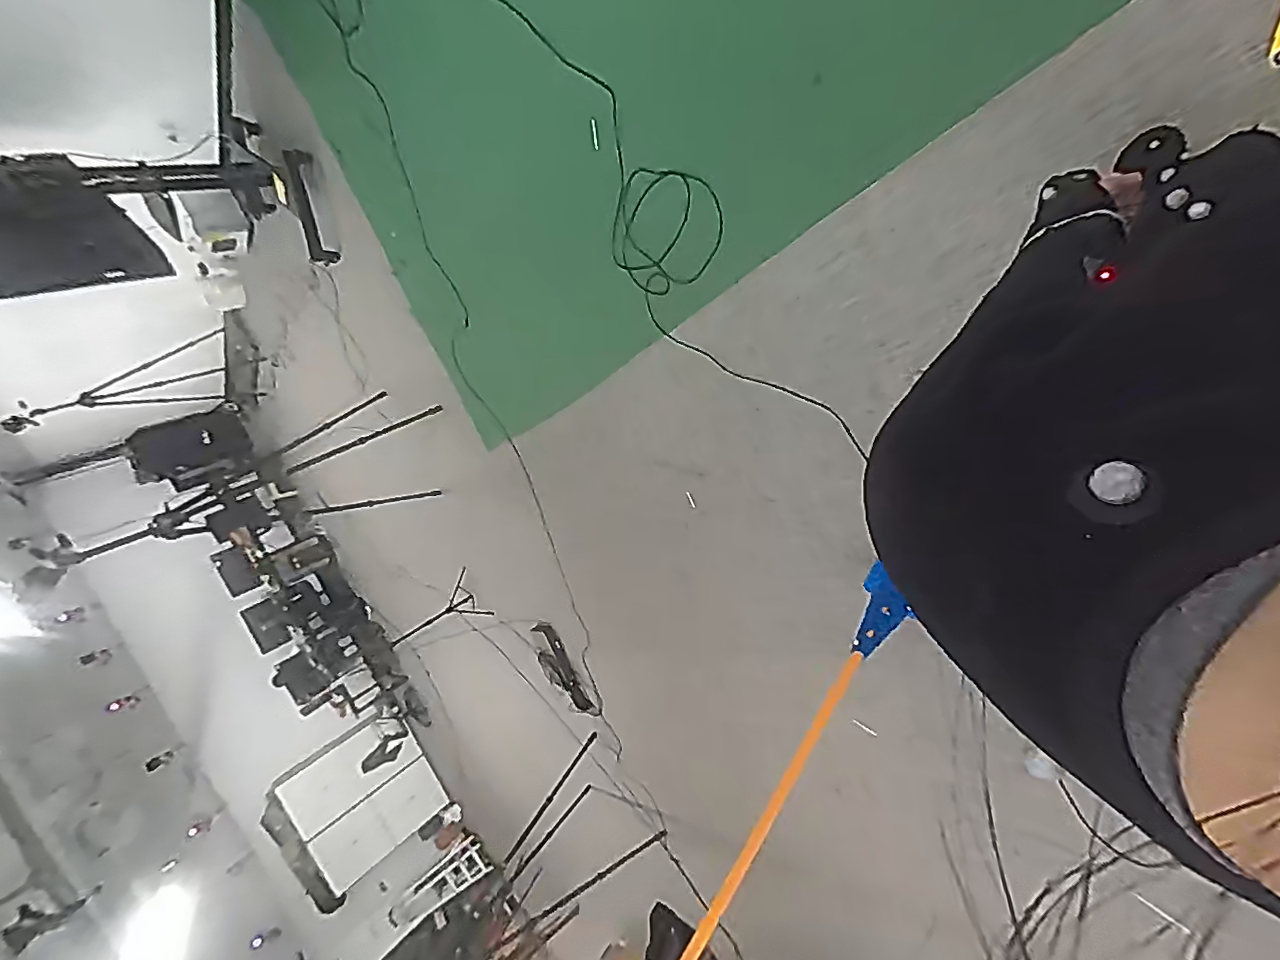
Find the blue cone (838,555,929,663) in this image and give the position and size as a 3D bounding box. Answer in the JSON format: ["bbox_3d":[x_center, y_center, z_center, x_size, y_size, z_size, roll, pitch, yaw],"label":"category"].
[{"bbox_3d":[0.688,0.413,1.596,0.192,0.380,0.193,30,134,28],"label":"blue cone"}]
